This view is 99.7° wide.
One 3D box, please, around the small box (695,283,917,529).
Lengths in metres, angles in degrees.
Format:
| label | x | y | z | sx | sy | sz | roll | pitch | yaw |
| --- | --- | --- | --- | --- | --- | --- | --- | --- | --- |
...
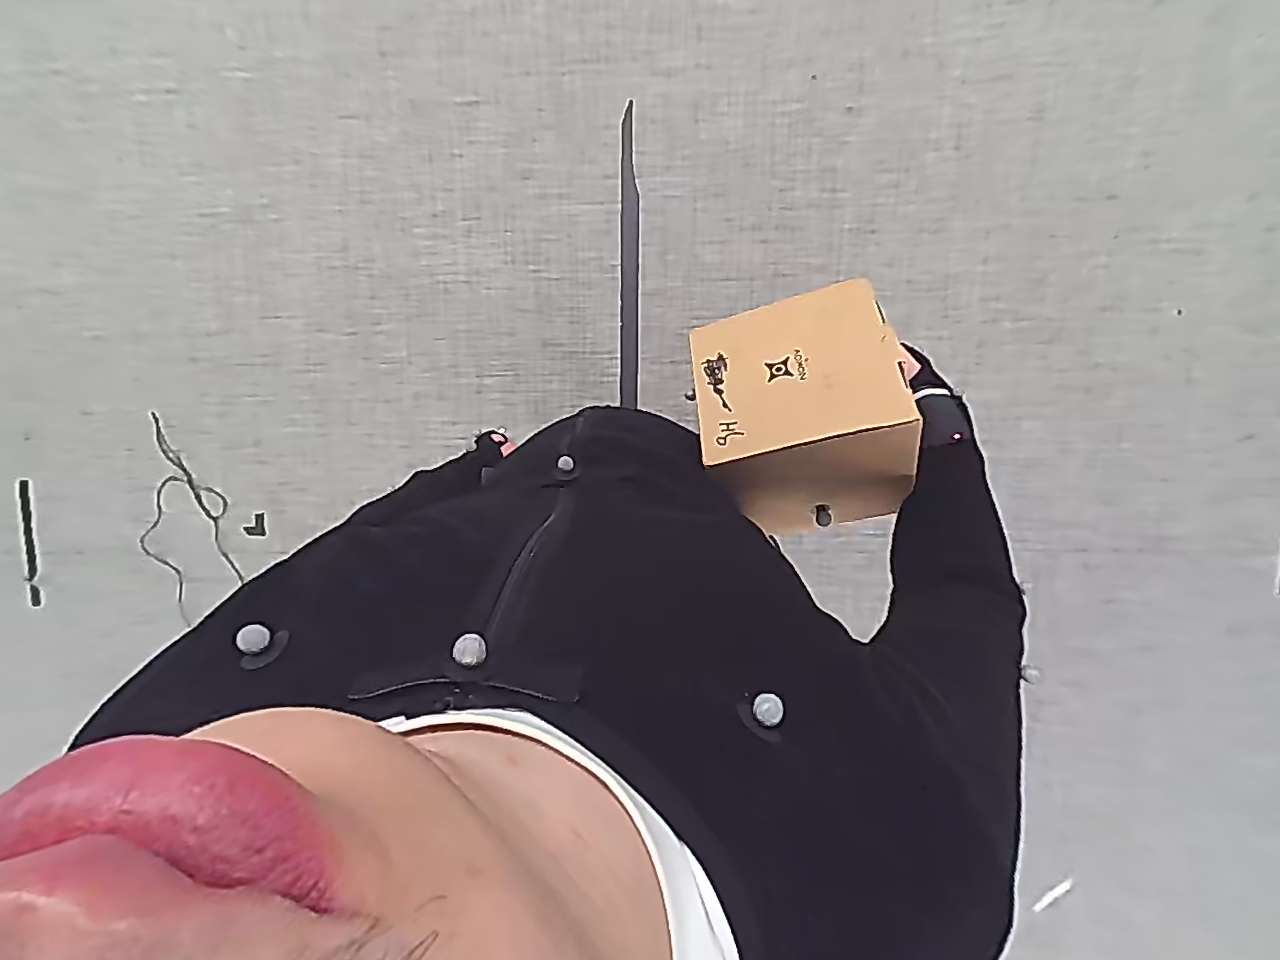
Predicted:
| label | x | y | z | sx | sy | sz | roll | pitch | yaw |
| --- | --- | --- | --- | --- | --- | --- | --- | --- | --- |
| small box | 0.166 | -0.064 | 0.560 | 0.179 | 0.176 | 0.168 | -12 | 57 | 17 |
